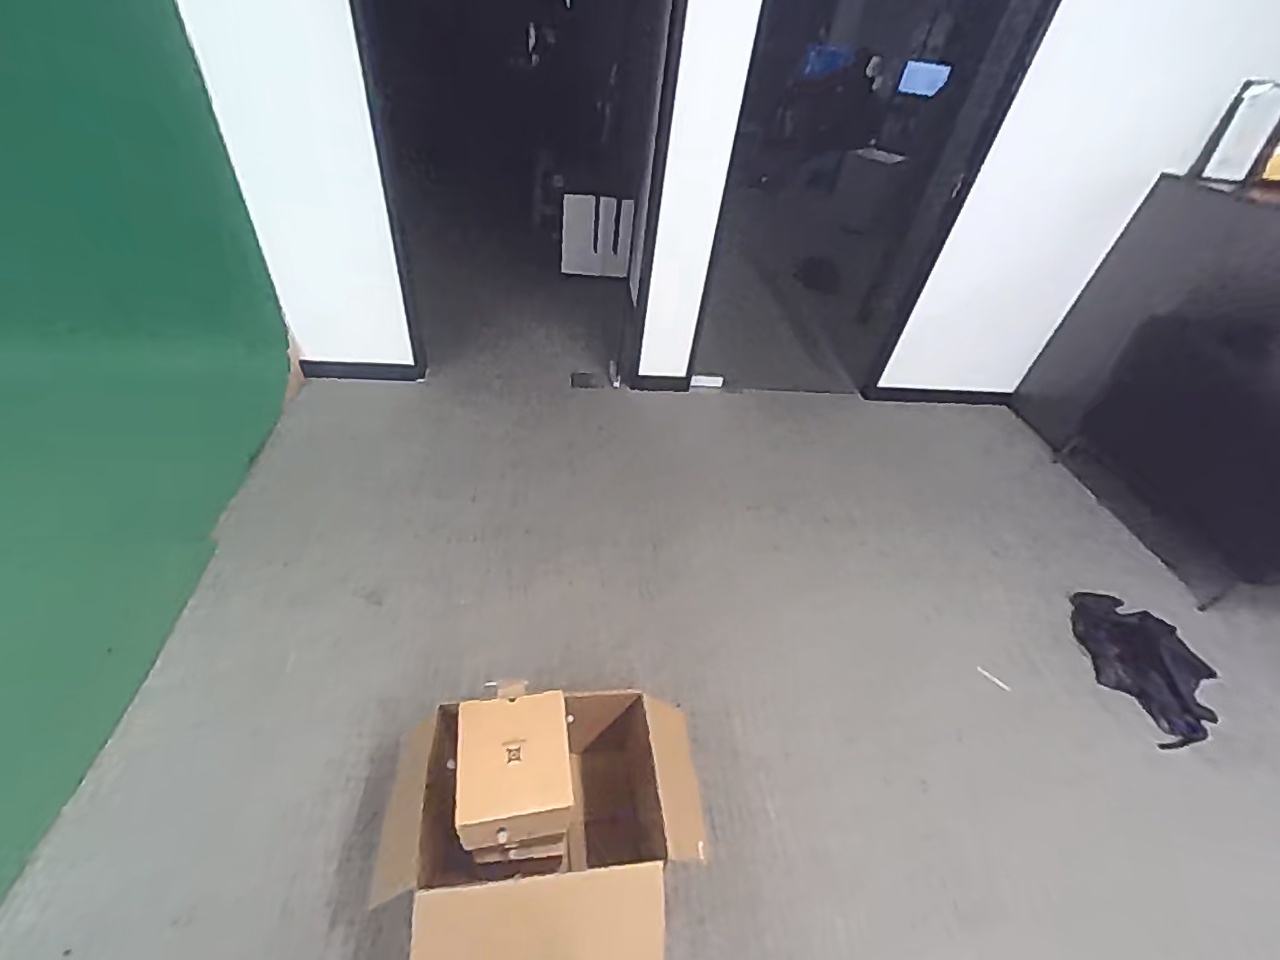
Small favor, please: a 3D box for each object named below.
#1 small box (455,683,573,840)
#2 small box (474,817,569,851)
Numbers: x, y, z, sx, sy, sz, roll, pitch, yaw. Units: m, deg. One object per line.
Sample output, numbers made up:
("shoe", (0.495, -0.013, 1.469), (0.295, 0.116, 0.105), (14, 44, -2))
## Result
("small box", (-0.200, 0.456, 0.871), (0.168, 0.176, 0.179), (-3, 46, -14))
("small box", (-0.223, 0.556, 0.998), (0.168, 0.176, 0.179), (-1, 47, -13))
